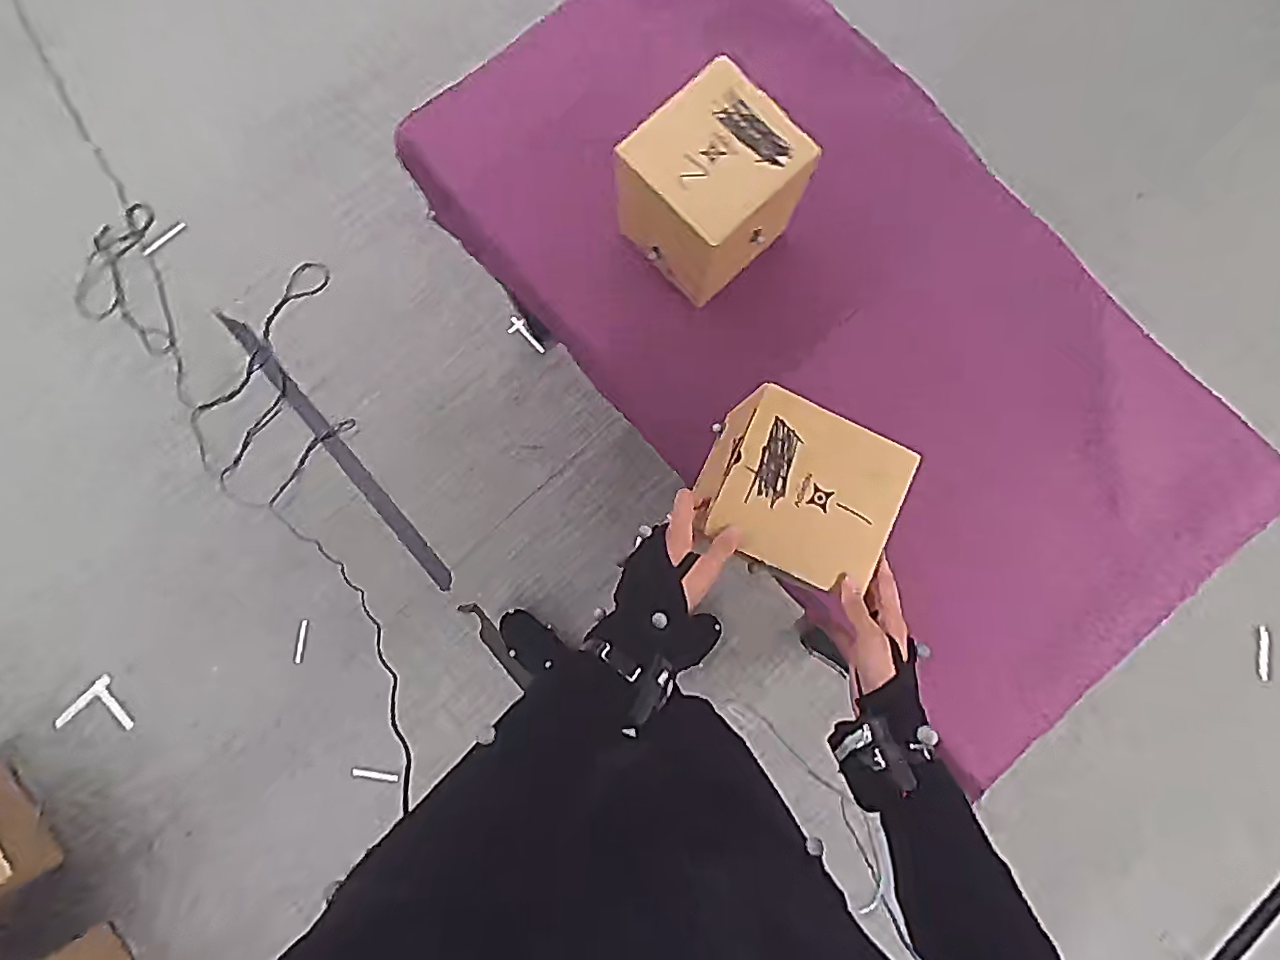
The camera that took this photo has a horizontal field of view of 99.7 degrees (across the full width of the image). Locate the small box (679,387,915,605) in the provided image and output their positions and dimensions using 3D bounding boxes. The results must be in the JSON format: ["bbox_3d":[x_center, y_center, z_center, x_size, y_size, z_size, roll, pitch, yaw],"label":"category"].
[{"bbox_3d":[0.158,0.021,0.608,0.179,0.176,0.168,24,85,-3],"label":"small box"}]
